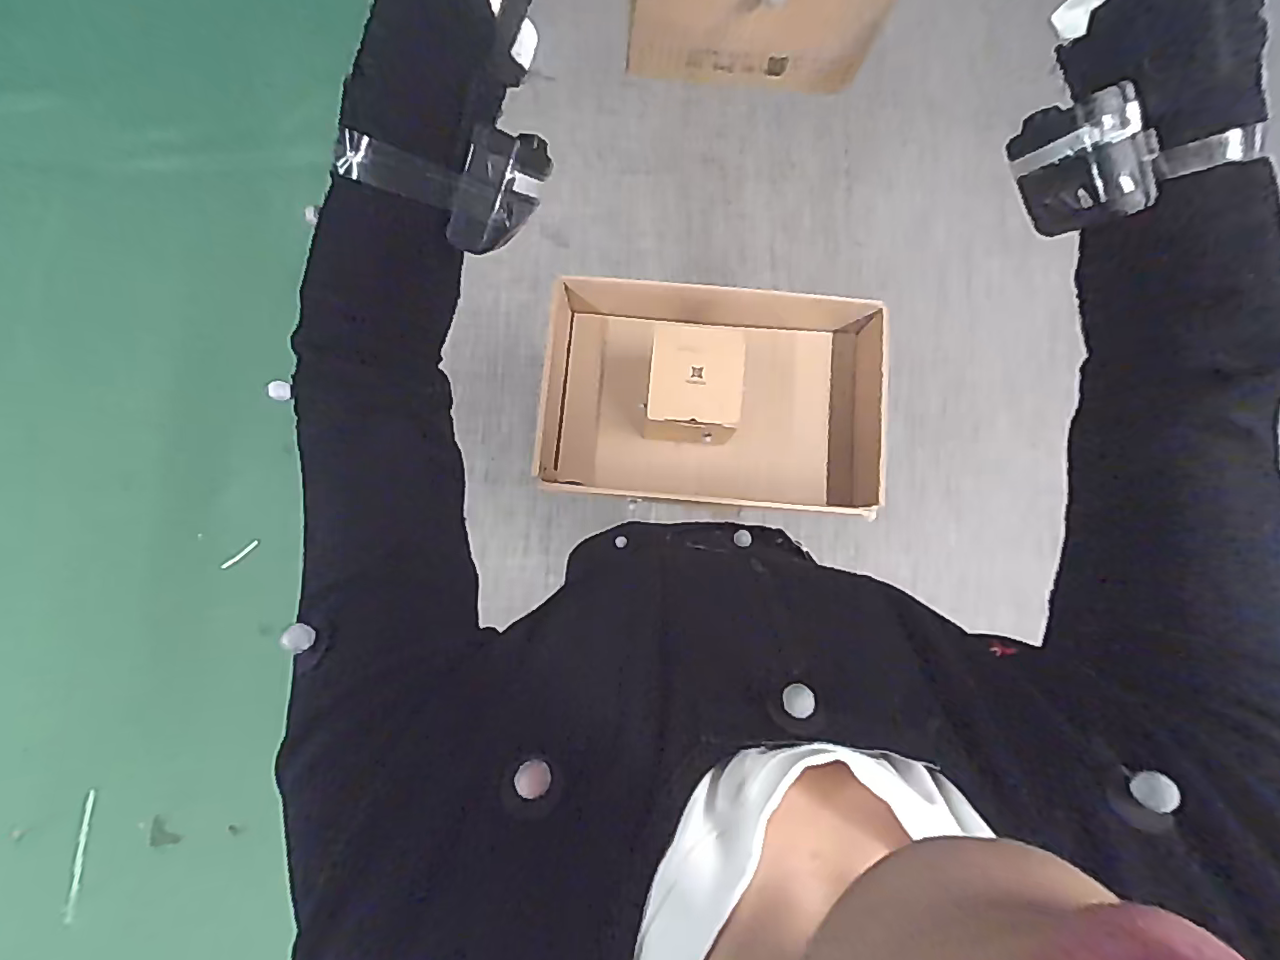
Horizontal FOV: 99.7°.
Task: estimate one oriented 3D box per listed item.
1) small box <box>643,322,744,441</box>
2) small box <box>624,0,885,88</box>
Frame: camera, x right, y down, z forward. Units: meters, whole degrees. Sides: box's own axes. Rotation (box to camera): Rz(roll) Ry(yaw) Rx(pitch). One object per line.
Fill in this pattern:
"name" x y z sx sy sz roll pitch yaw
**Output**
"small box" 0.094 -0.177 1.025 0.168 0.176 0.179 5 81 -2
"small box" 0.079 -0.382 0.326 0.168 0.176 0.179 1 81 -6
